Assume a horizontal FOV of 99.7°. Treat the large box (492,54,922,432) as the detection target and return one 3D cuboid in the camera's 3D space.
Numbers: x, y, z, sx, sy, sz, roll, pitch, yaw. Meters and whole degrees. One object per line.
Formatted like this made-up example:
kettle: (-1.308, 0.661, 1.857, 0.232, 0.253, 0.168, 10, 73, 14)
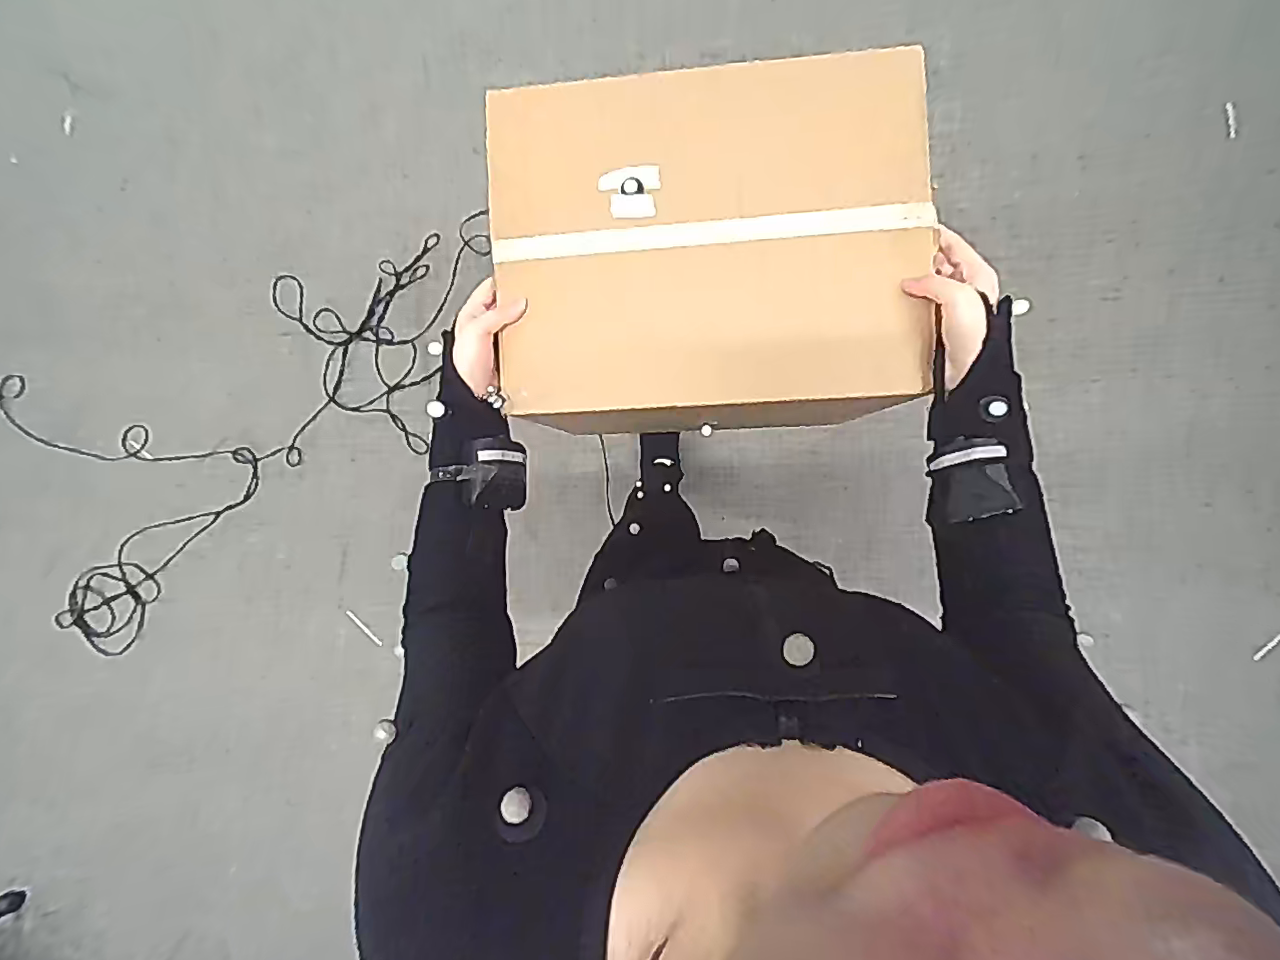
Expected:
large box: (0.075, -0.231, 0.668, 0.408, 0.320, 0.320, -3, 90, 7)
